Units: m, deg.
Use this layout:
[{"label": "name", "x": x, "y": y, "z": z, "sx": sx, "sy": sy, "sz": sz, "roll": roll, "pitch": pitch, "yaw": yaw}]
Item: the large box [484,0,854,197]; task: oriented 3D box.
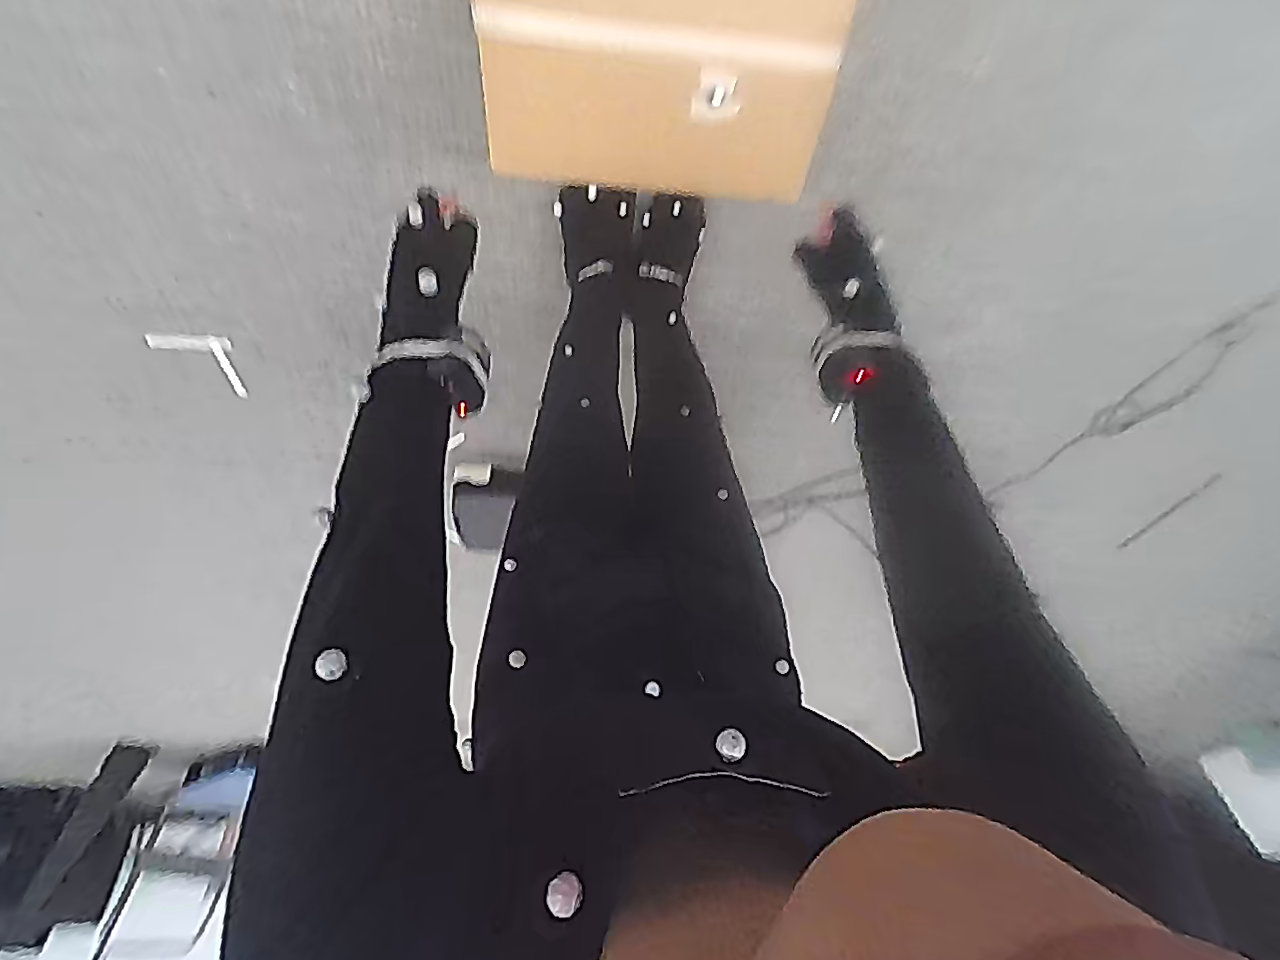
[{"label": "large box", "x": 0.020, "y": -0.597, "z": 0.703, "sx": 0.408, "sy": 0.320, "sz": 0.320, "roll": 1, "pitch": 137, "yaw": -6}]
